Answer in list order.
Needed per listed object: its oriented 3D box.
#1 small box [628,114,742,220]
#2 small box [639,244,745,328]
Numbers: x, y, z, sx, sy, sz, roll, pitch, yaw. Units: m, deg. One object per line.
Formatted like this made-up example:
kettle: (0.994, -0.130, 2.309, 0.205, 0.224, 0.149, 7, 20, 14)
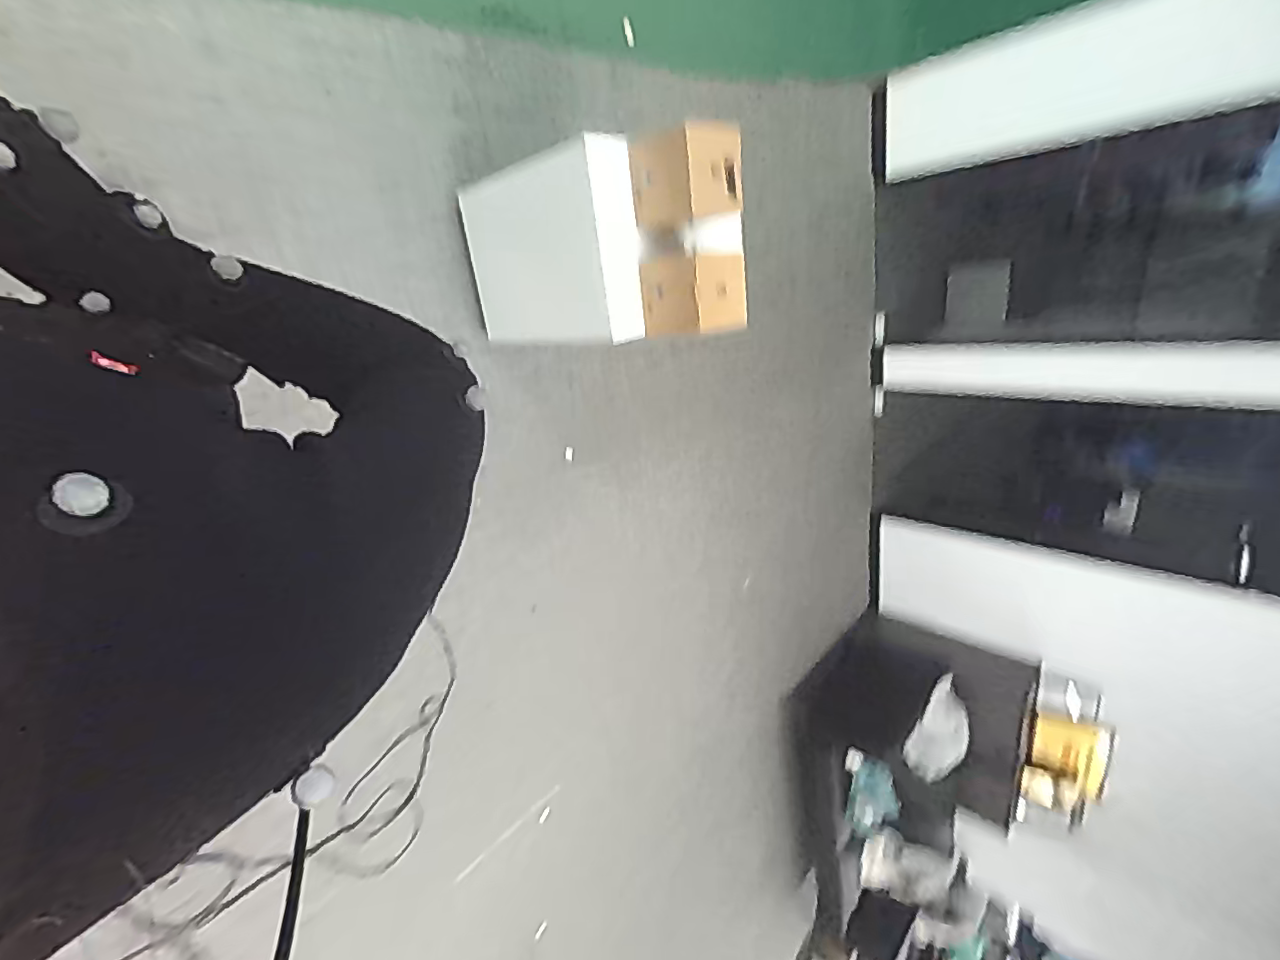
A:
small box: (0.098, -0.657, 1.152, 0.179, 0.176, 0.168, -25, 118, -38)
small box: (0.120, -0.441, 1.232, 0.179, 0.176, 0.168, -23, 115, -39)
